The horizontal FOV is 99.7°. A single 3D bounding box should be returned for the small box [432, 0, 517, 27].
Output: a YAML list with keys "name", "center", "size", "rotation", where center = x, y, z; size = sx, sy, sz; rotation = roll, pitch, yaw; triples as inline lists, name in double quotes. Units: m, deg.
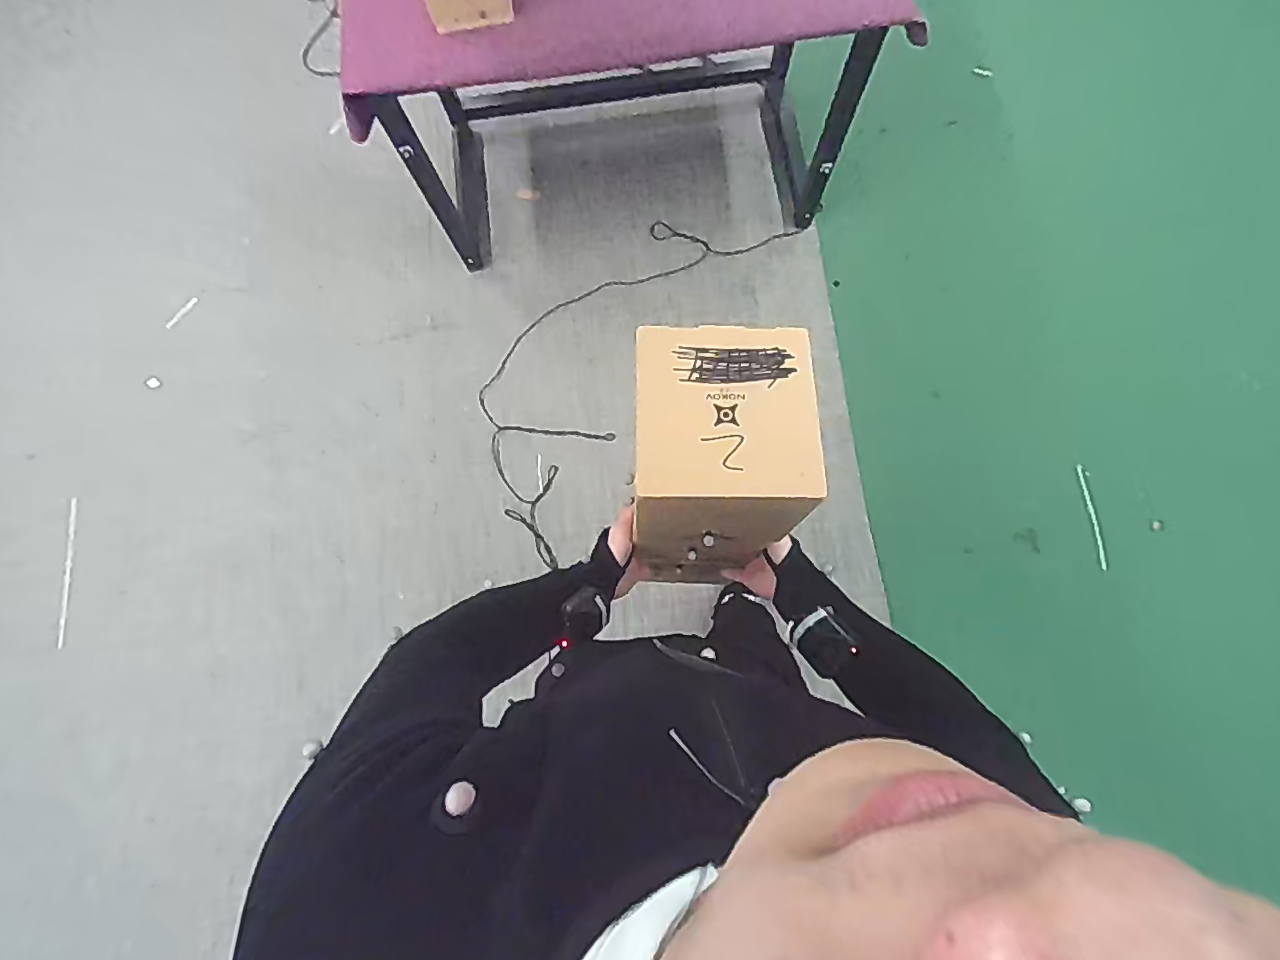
- name: "small box"
  center: [-0.357, -1.065, 1.094]
  size: [0.168, 0.176, 0.179]
  rotation: [-9, 78, 1]

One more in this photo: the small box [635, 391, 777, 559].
- name: "small box"
  center: [0.082, 0.002, 0.716]
  size: [0.168, 0.176, 0.179]
  rotation: [3, 69, 1]

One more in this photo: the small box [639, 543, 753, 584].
- name: "small box"
  center: [0.084, 0.063, 0.871]
  size: [0.168, 0.176, 0.179]
  rotation: [2, 70, 2]
